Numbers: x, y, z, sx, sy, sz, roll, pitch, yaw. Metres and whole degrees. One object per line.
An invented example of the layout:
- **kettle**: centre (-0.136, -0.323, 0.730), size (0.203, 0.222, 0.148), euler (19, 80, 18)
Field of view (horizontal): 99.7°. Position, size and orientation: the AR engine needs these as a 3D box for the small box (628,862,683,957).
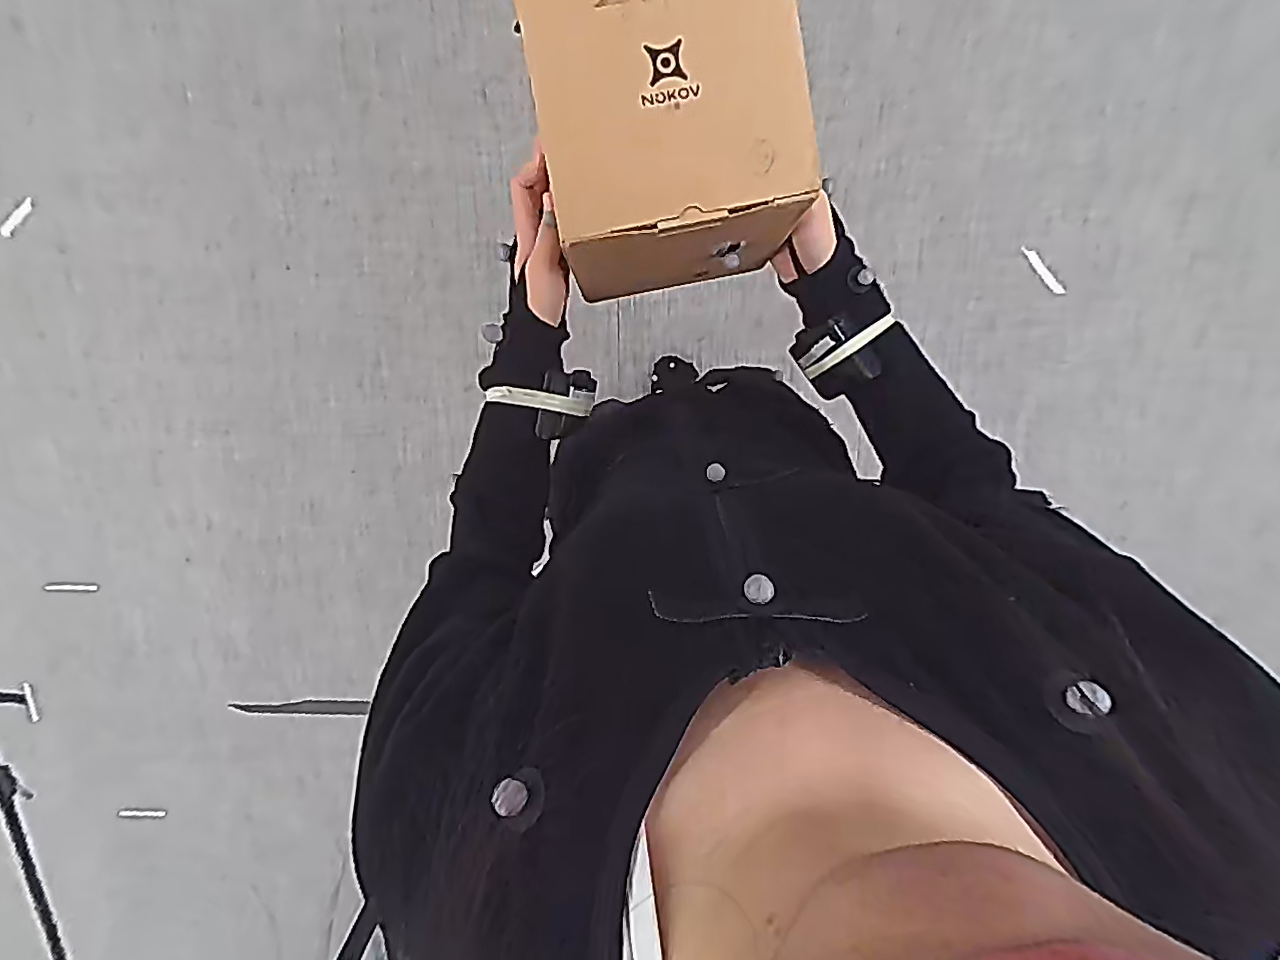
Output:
- **small box**: centre (0.050, 1.379, 1.741), size (0.168, 0.176, 0.179), euler (1, 104, 1)
